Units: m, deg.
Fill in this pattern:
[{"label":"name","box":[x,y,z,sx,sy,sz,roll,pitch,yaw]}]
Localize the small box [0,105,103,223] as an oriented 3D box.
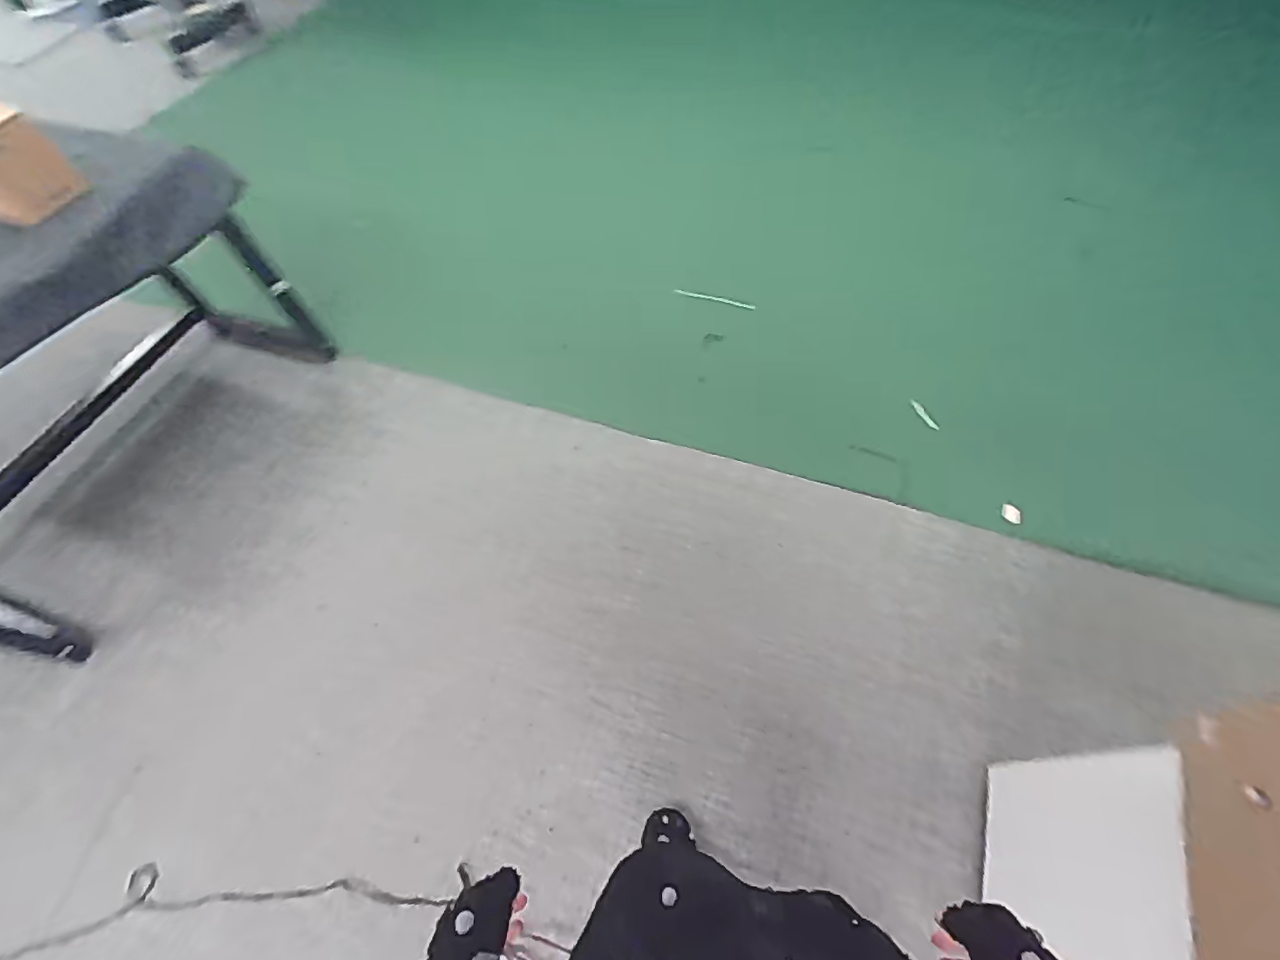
[{"label":"small box","box":[-1.393,-0.705,1.211,0.179,0.176,0.168,18,64,15]}]
